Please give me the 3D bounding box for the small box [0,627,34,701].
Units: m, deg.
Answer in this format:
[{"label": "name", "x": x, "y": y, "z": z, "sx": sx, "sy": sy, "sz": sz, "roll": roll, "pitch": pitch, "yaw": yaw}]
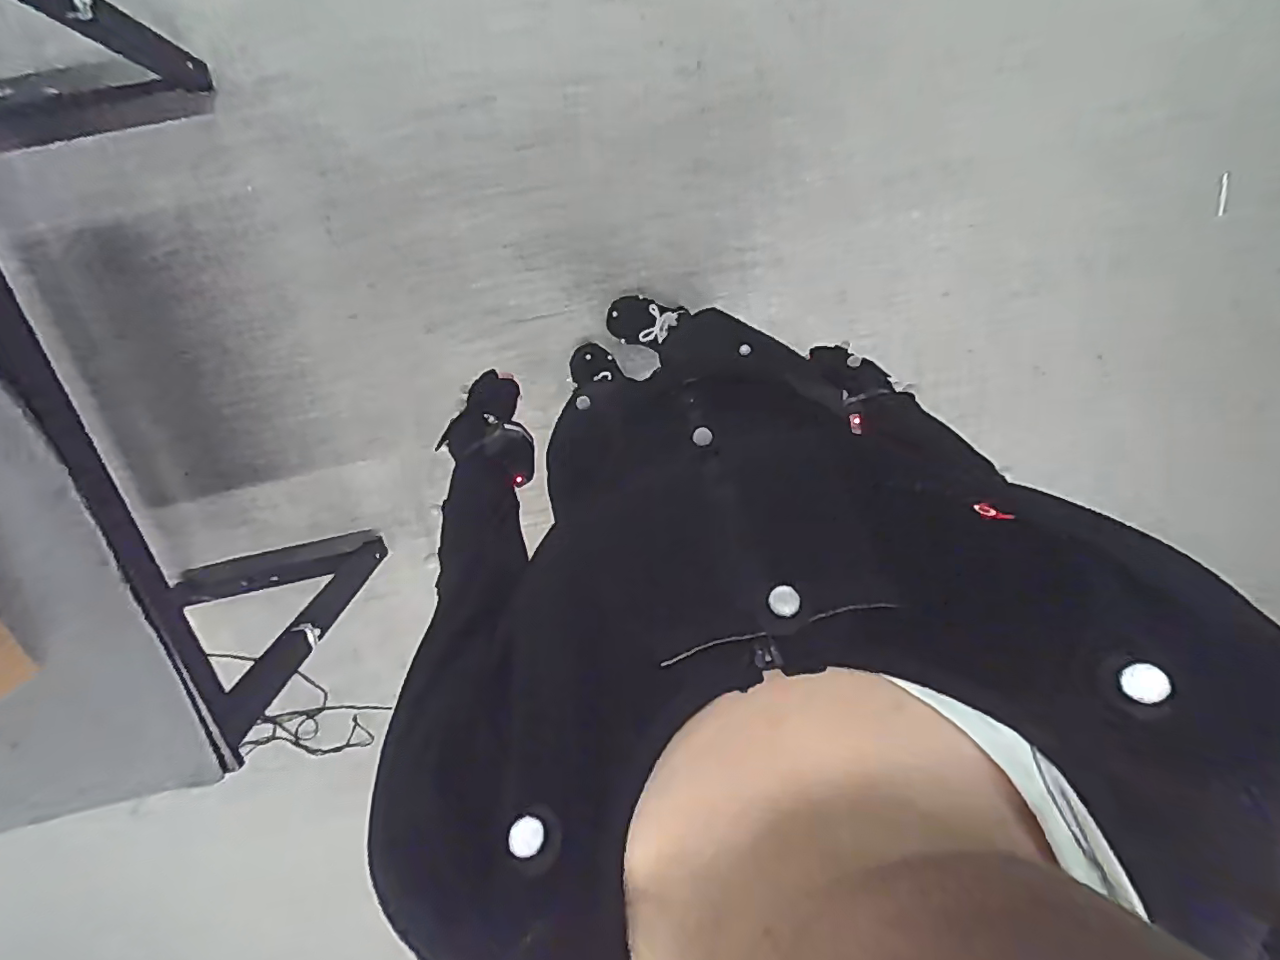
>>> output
[{"label": "small box", "x": -0.917, "y": 0.237, "z": 0.640, "sx": 0.168, "sy": 0.176, "sz": 0.179, "roll": -18, "pitch": 108, "yaw": 0}]
